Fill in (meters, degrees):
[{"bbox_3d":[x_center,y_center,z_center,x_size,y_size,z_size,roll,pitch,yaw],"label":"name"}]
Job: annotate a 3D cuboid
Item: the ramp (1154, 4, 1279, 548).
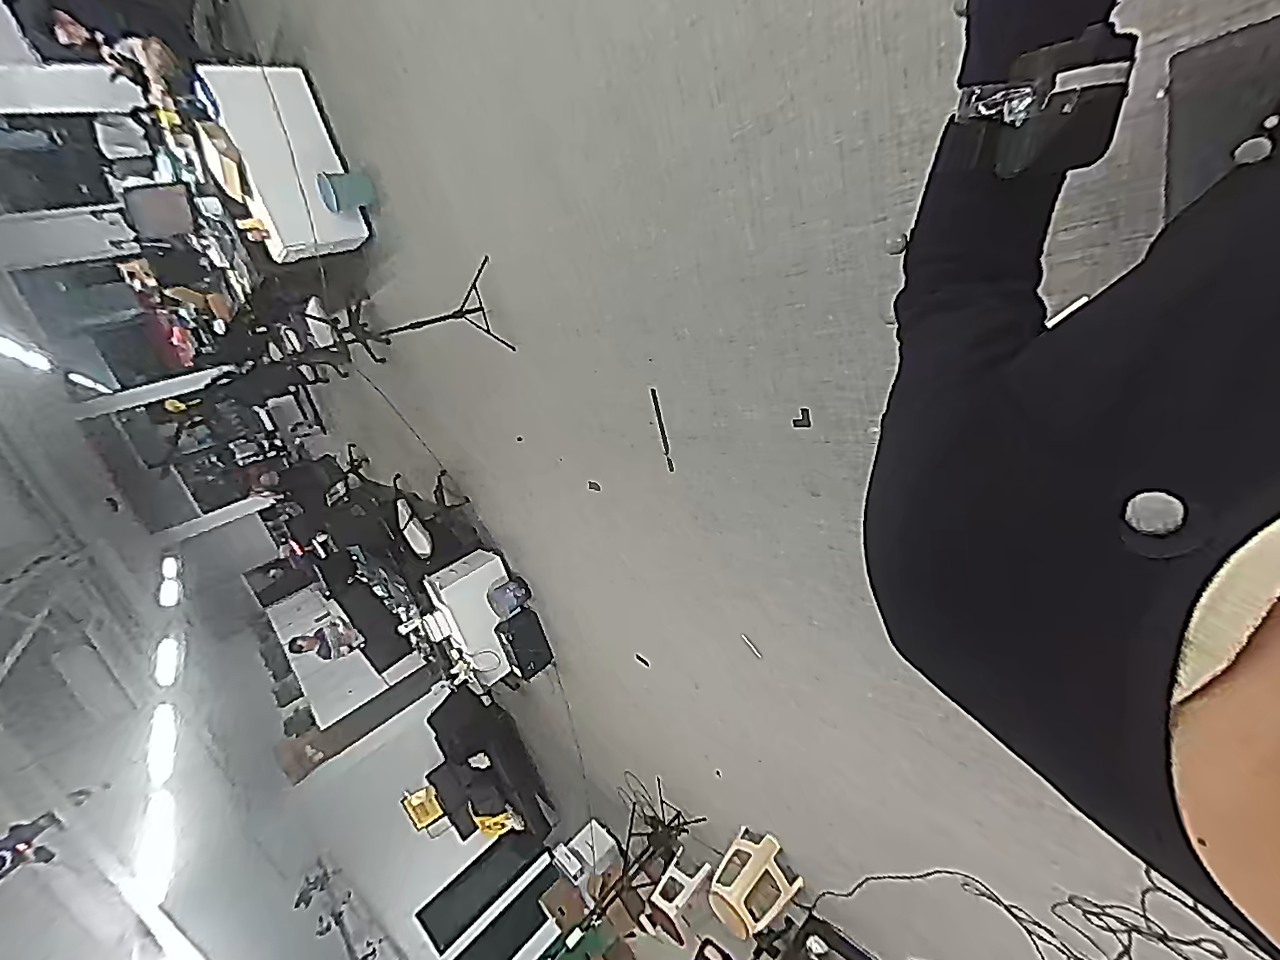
[{"bbox_3d":[1.186,-0.260,0.882,0.509,0.206,0.991,5,119,49],"label":"ramp"}]
